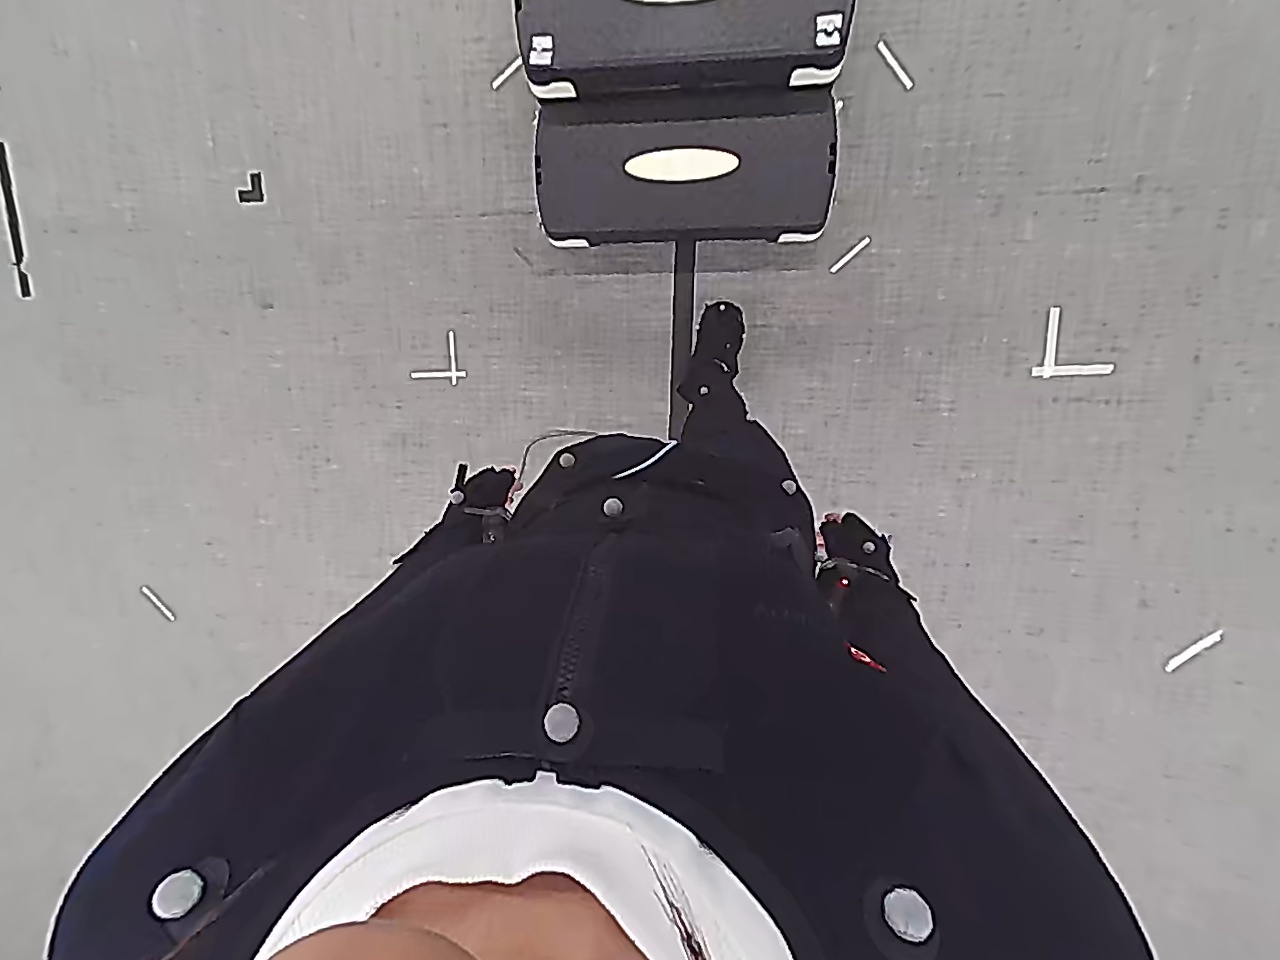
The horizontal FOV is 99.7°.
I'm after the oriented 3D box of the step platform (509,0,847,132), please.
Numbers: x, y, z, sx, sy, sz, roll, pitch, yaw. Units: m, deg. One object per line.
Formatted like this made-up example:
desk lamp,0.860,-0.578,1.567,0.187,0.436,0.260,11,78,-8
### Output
step platform,0.073,-0.945,1.136,0.684,0.204,0.286,0,102,6
